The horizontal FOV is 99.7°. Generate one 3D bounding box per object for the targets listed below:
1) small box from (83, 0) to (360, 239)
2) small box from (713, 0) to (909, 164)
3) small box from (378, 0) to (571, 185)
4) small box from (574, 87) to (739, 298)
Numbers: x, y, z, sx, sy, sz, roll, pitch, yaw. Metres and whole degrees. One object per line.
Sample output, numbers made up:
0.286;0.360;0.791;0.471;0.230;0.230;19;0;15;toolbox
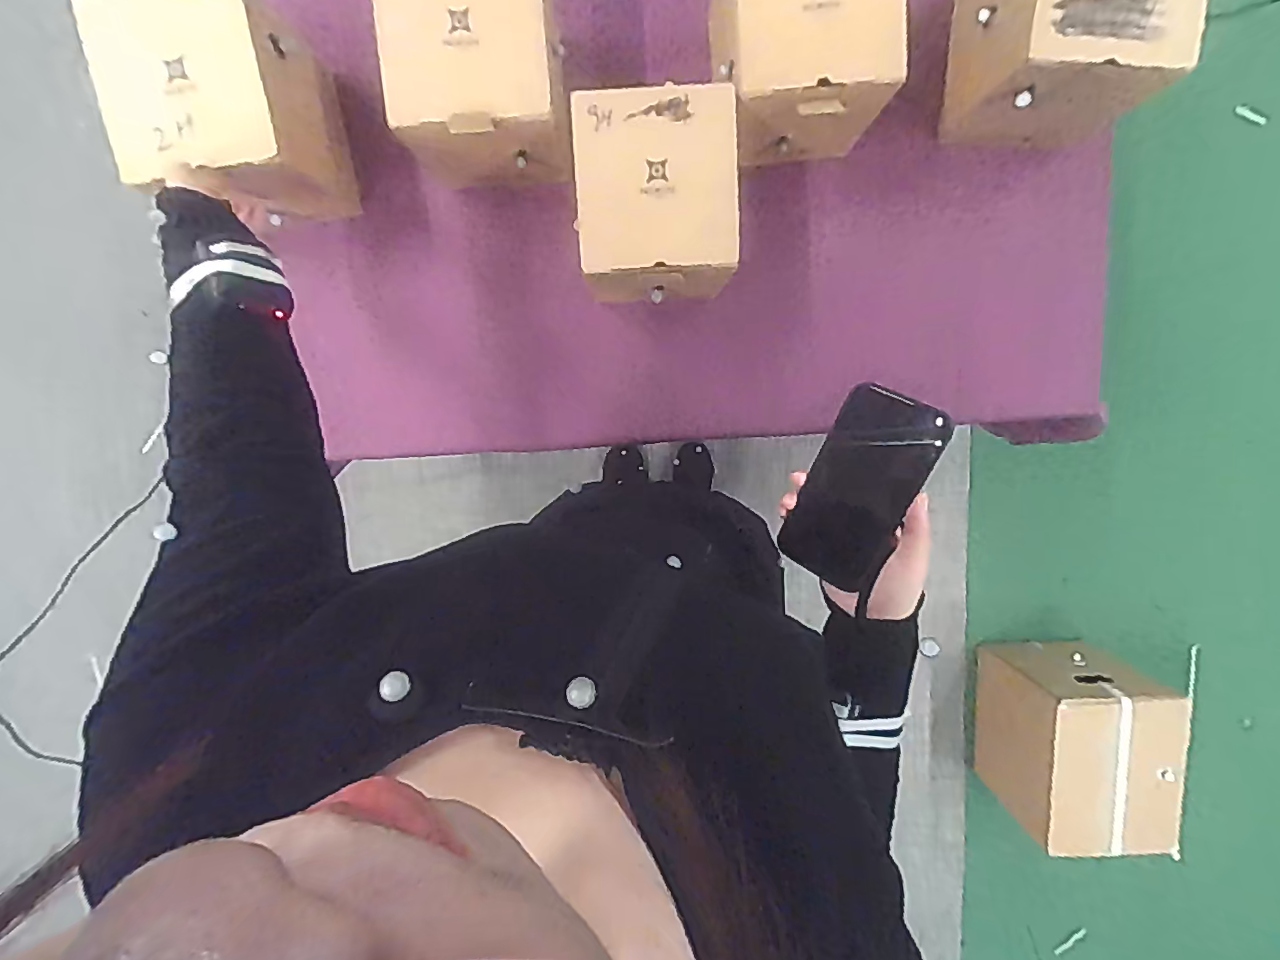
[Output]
-0.454;-0.401;0.618;0.168;0.176;0.179;-9;98;1;small box
0.177;-0.483;0.600;0.168;0.176;0.179;-5;99;1;small box
-0.172;-0.451;0.607;0.168;0.176;0.179;-3;98;-1;small box
0.020;-0.312;0.625;0.168;0.176;0.179;-3;99;0;small box
